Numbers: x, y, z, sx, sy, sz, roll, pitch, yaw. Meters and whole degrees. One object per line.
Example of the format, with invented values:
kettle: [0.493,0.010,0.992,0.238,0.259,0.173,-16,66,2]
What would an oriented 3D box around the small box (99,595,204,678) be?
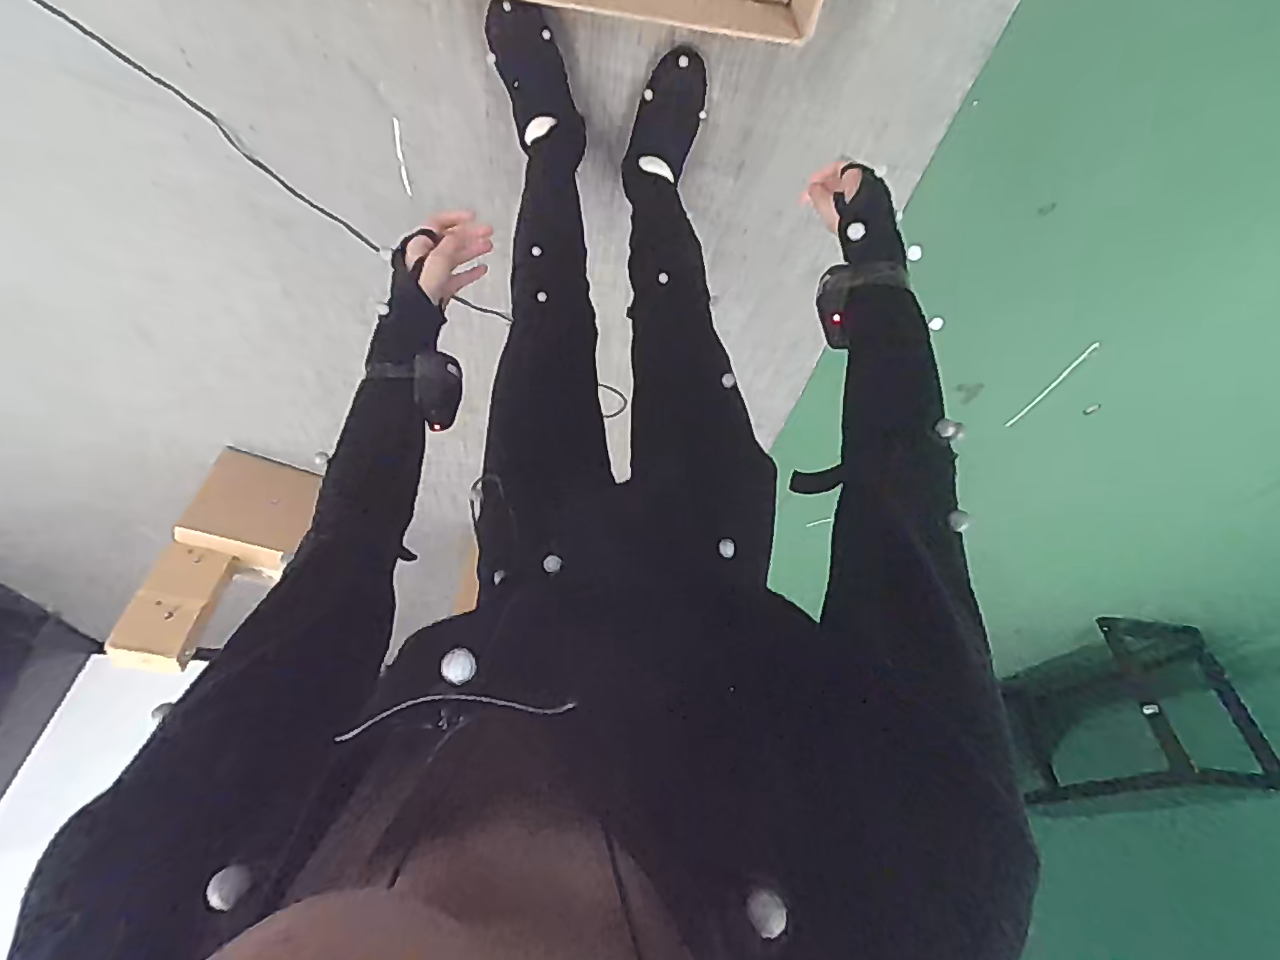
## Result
small box: [-1.406,0.456,1.572,0.168,0.176,0.179,19,139,-22]
